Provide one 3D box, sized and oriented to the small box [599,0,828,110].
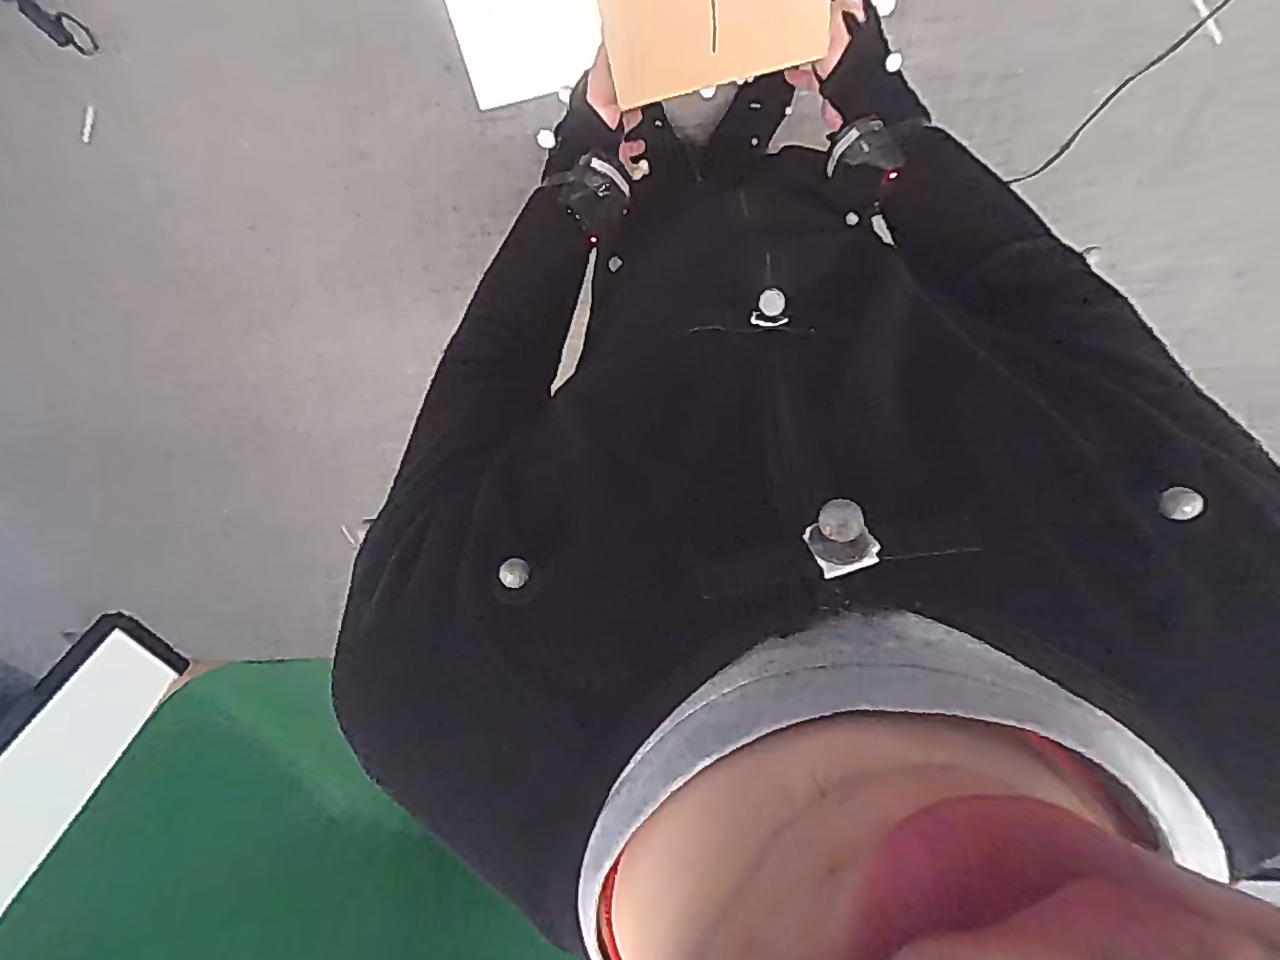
[{"bbox_3d":[0.050,-0.423,0.432,0.168,0.176,0.179,-7,130,10],"label":"small box"}]
